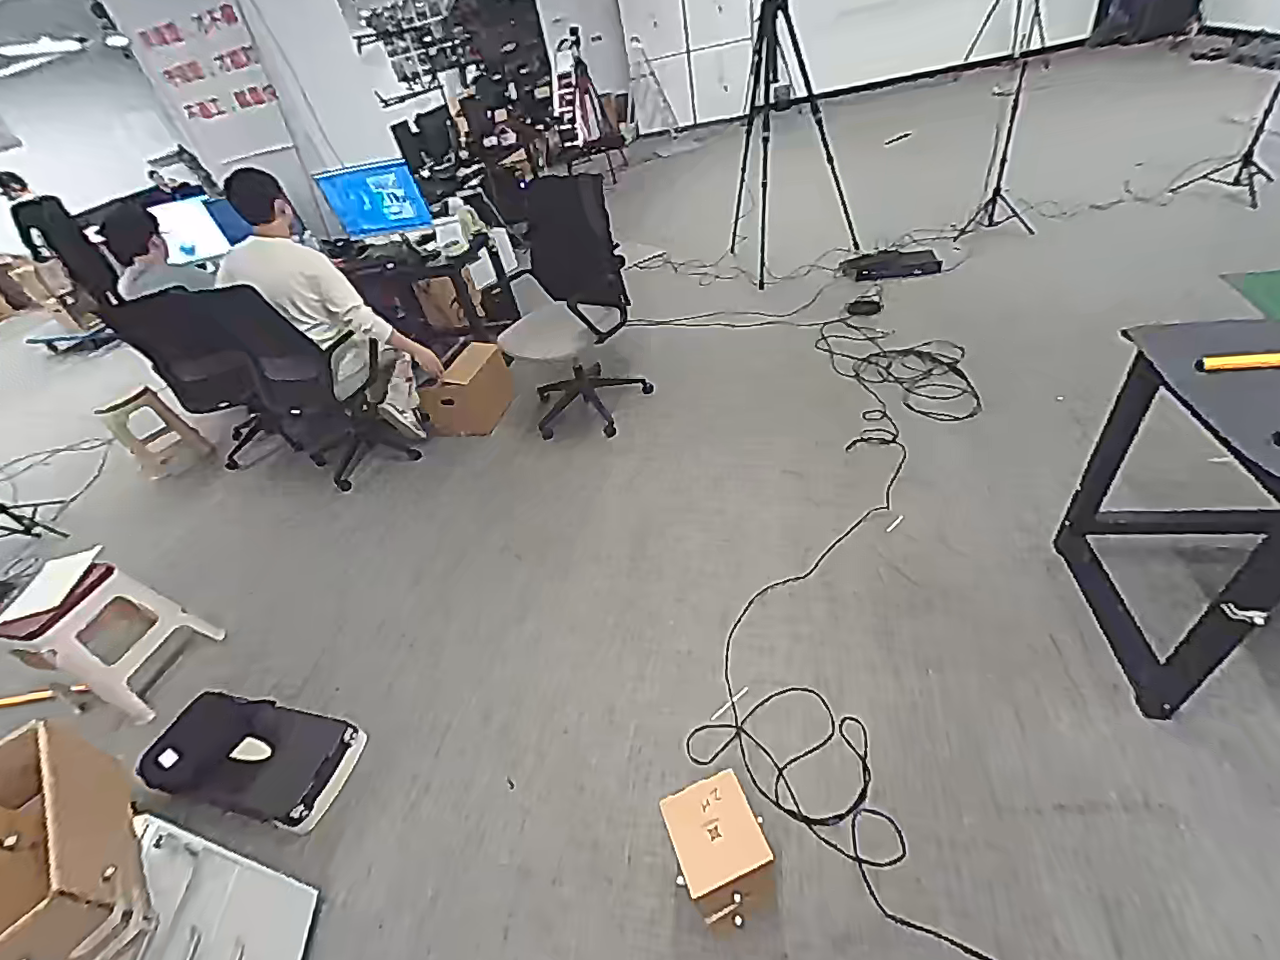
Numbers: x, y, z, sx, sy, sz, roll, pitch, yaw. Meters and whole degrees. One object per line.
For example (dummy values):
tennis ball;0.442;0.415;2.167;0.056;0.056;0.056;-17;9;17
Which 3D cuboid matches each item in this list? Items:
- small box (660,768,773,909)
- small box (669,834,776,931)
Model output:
small box;0.157;0.727;1.090;0.168;0.176;0.179;-21;40;-8
small box;0.186;0.852;1.194;0.168;0.176;0.179;-25;41;-12
